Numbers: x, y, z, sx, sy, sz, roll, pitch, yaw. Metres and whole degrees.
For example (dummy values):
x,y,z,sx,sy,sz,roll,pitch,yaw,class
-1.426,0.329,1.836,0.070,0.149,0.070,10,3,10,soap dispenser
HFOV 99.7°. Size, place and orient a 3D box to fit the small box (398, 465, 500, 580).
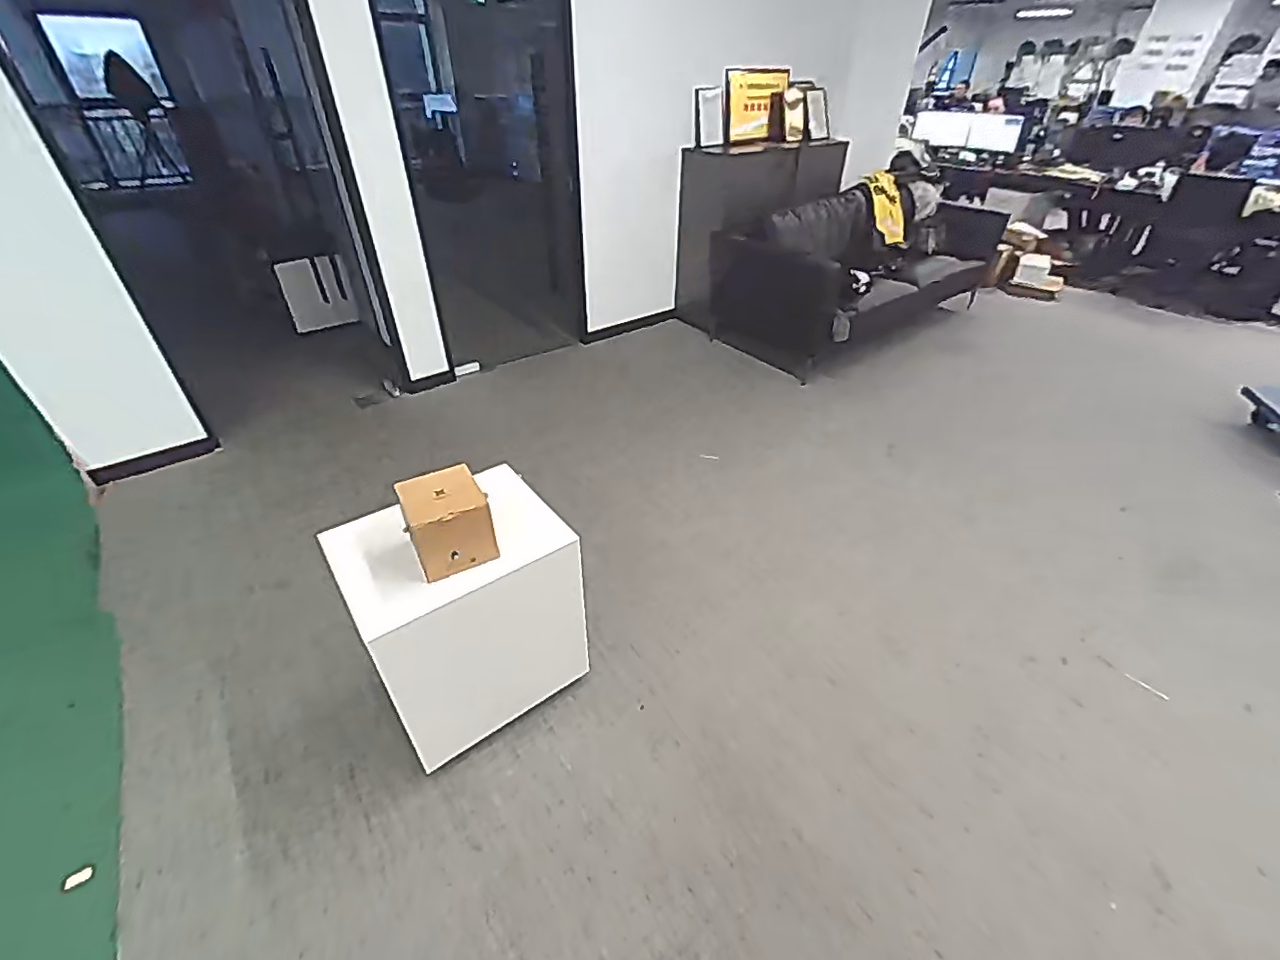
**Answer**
x,y,z,sx,sy,sz,roll,pitch,yaw,class
-0.435,0.096,1.238,0.168,0.176,0.179,-20,41,-25,small box
